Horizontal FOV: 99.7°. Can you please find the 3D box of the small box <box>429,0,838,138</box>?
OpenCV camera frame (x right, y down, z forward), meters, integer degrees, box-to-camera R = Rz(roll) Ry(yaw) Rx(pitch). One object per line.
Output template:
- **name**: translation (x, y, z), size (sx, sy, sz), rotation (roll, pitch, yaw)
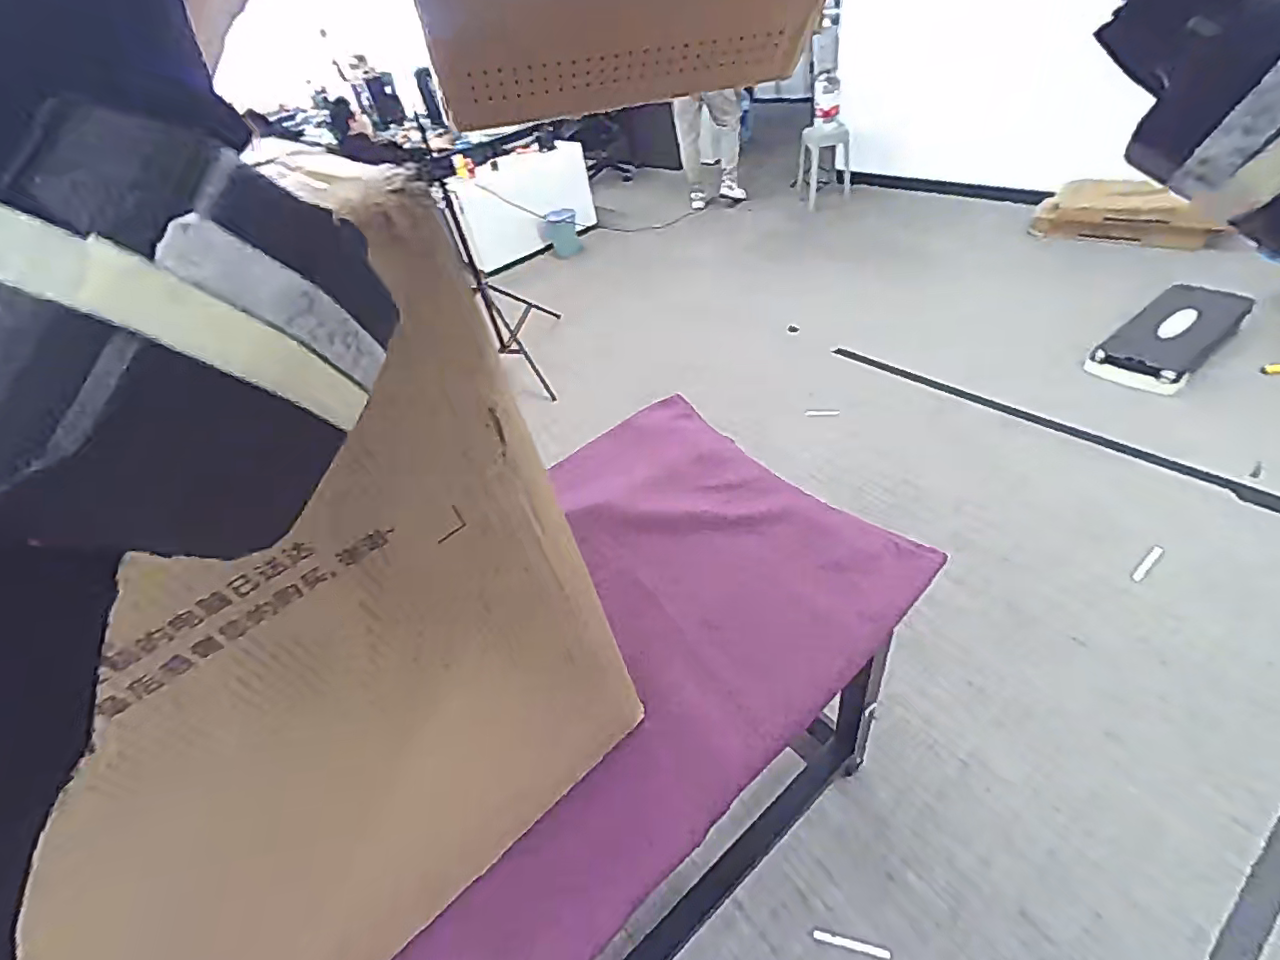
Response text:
- **small box**: translation (-0.007, -0.266, 0.197), size (0.179, 0.176, 0.168), rotation (-13, 83, -6)
